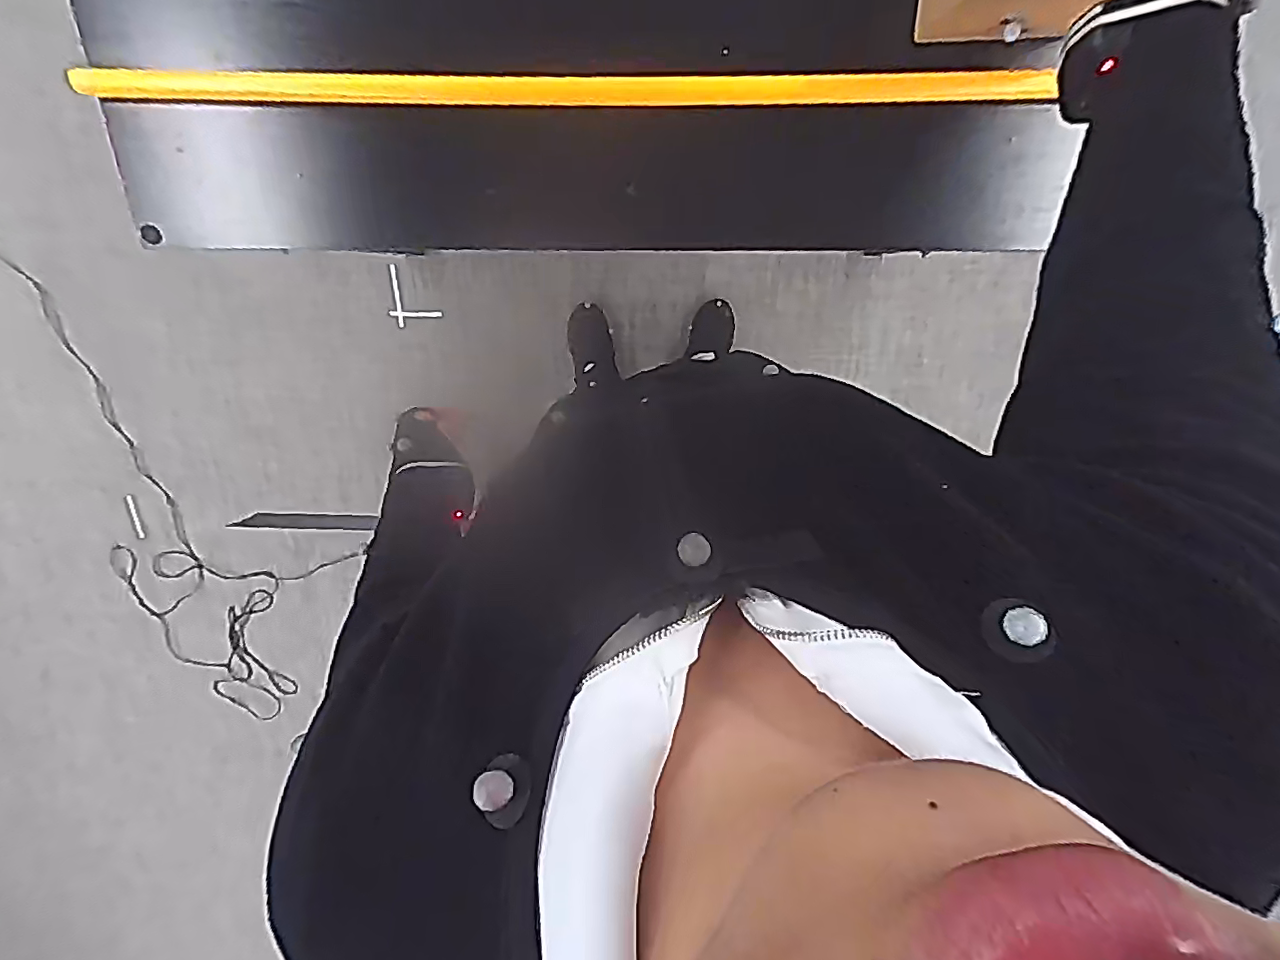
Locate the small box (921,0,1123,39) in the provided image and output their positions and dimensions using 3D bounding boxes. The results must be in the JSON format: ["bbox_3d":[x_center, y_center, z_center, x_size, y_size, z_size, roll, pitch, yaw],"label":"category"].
[{"bbox_3d":[0.374,-0.528,0.475,0.168,0.176,0.179,-1,111,2],"label":"small box"}]
